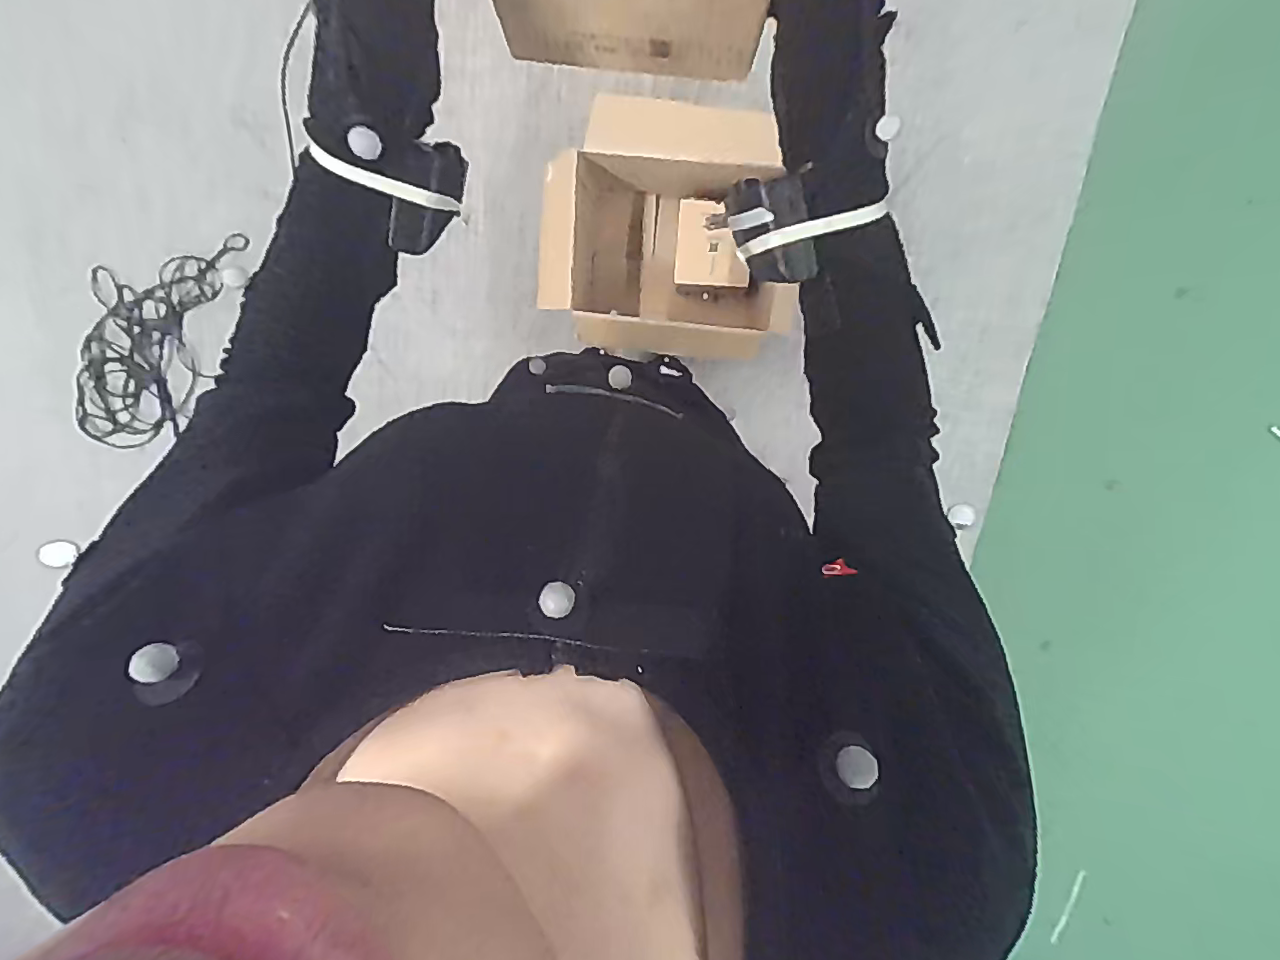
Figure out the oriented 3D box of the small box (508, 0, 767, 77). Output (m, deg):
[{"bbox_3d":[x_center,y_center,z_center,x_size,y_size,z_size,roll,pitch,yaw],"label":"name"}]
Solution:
[{"bbox_3d":[0.002,-0.366,0.299,0.168,0.176,0.179,5,96,0],"label":"small box"}]
